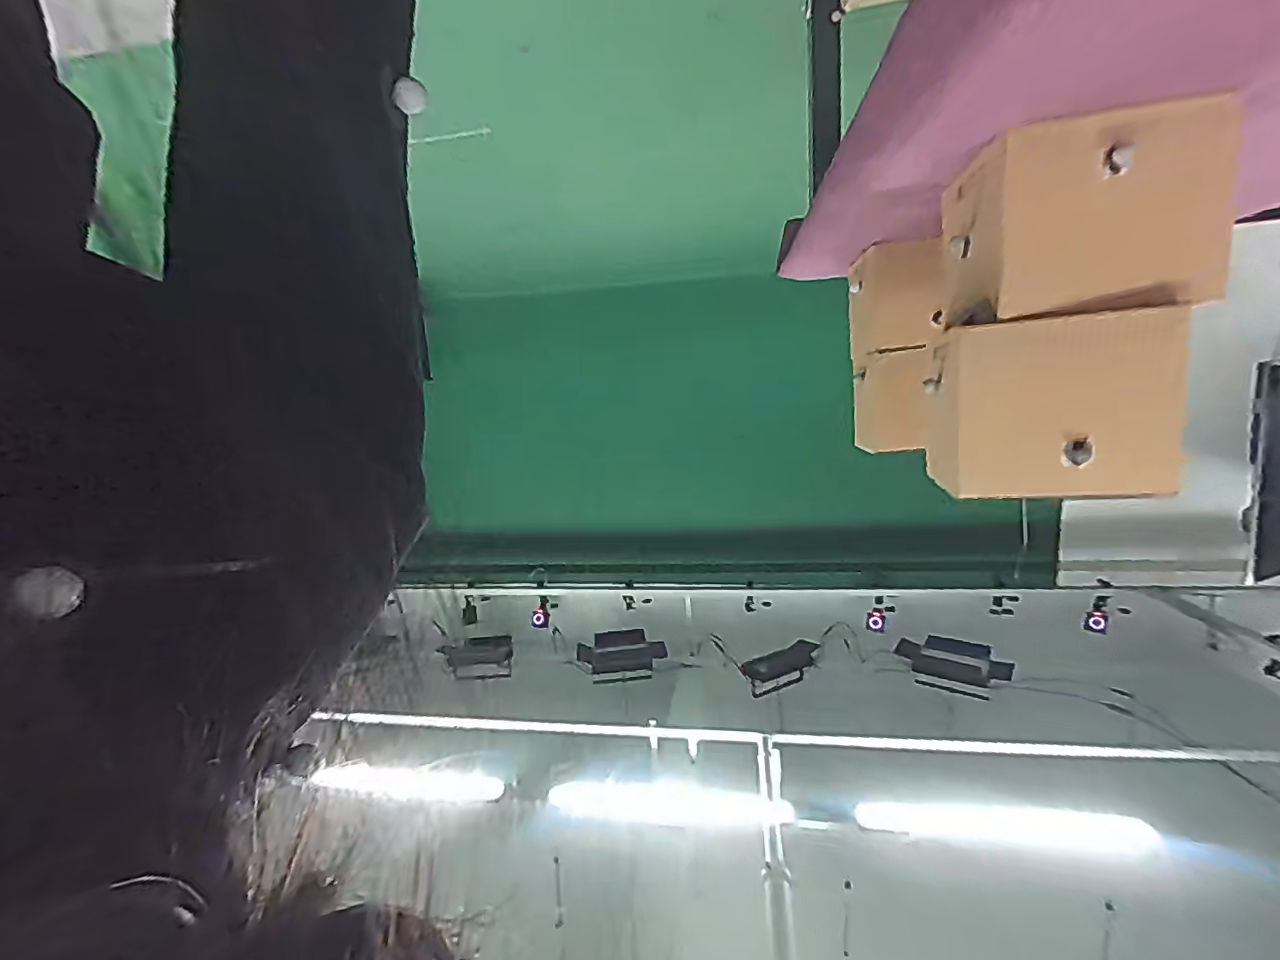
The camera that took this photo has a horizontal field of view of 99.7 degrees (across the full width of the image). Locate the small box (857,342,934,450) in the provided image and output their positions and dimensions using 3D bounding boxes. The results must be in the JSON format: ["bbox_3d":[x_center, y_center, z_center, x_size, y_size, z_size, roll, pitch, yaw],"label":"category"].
[{"bbox_3d":[0.482,-0.150,0.929,0.179,0.176,0.168,-3,-173,12],"label":"small box"}]

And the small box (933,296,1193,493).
[{"bbox_3d":[0.416,-0.087,0.559,0.179,0.176,0.168,-2,-172,19],"label":"small box"}]

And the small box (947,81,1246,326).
[{"bbox_3d":[0.427,-0.252,0.537,0.179,0.176,0.168,-3,-171,13],"label":"small box"}]

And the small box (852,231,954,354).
[{"bbox_3d":[0.467,-0.311,0.911,0.179,0.176,0.168,-3,-172,9],"label":"small box"}]
